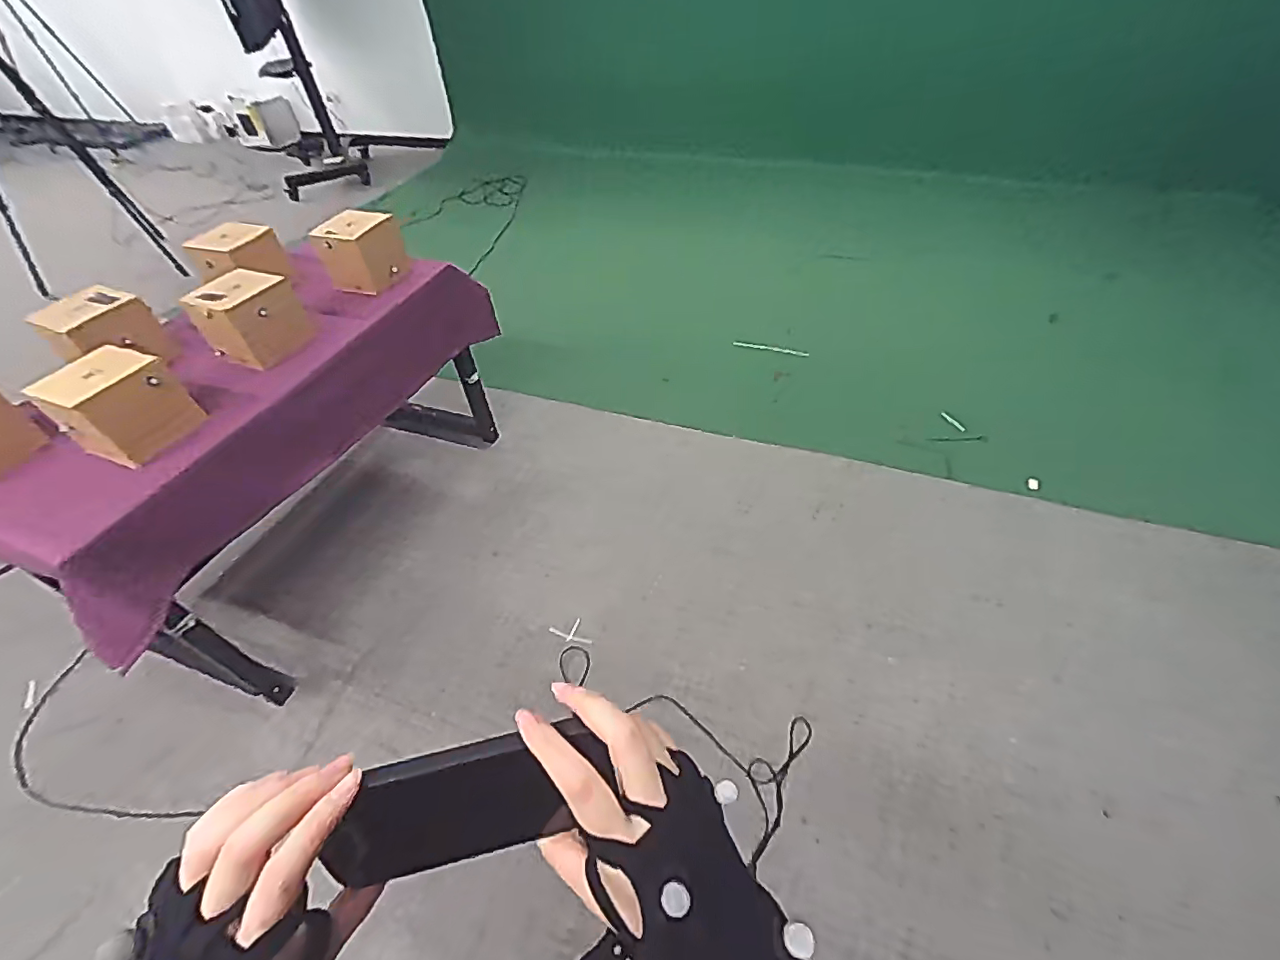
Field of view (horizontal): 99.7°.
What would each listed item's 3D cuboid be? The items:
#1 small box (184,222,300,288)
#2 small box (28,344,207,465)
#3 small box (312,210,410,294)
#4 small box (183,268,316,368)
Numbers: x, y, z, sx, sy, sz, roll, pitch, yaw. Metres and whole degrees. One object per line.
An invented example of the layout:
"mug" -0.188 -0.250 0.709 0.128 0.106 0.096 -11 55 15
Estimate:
"small box" -1.152 -0.632 1.580 0.179 0.176 0.168 12 50 14
"small box" -1.081 -0.157 1.136 0.168 0.176 0.179 15 49 17
"small box" -0.809 -0.673 1.596 0.168 0.176 0.179 13 49 16
"small box" -0.969 -0.406 1.359 0.168 0.176 0.179 17 49 18
